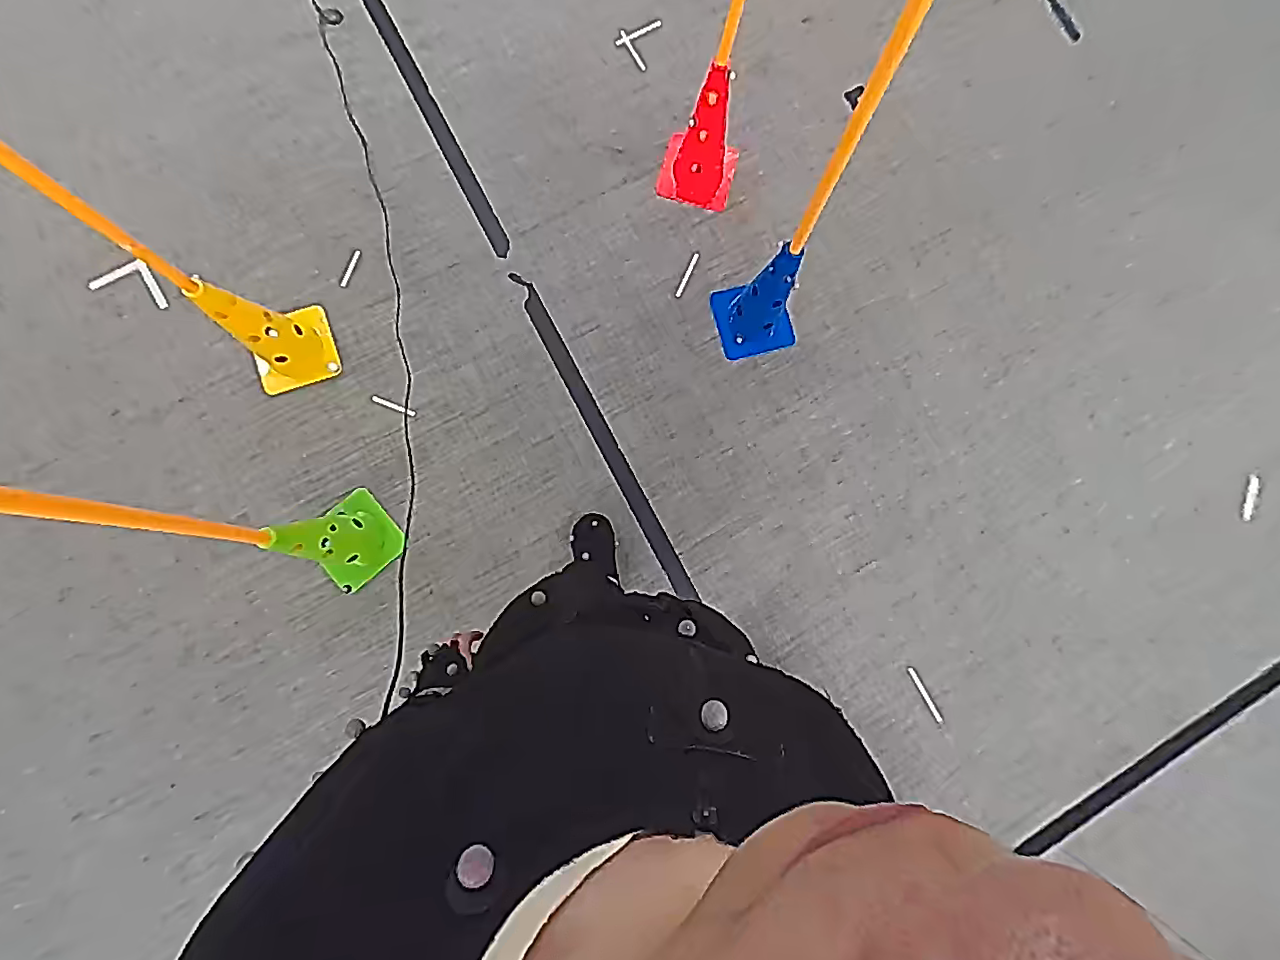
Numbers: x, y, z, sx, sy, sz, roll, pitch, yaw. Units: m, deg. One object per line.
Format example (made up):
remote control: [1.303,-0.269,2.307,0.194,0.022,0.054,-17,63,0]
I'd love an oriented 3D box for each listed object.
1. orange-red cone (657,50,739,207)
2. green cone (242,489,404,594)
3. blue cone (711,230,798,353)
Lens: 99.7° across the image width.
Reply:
orange-red cone: [0.168,-0.886,1.336,0.198,0.360,0.199,17,83,0]
green cone: [-0.705,0.125,1.160,0.200,0.368,0.202,-42,85,-7]
blue cone: [0.307,-0.467,1.302,0.193,0.380,0.192,-13,83,-4]
